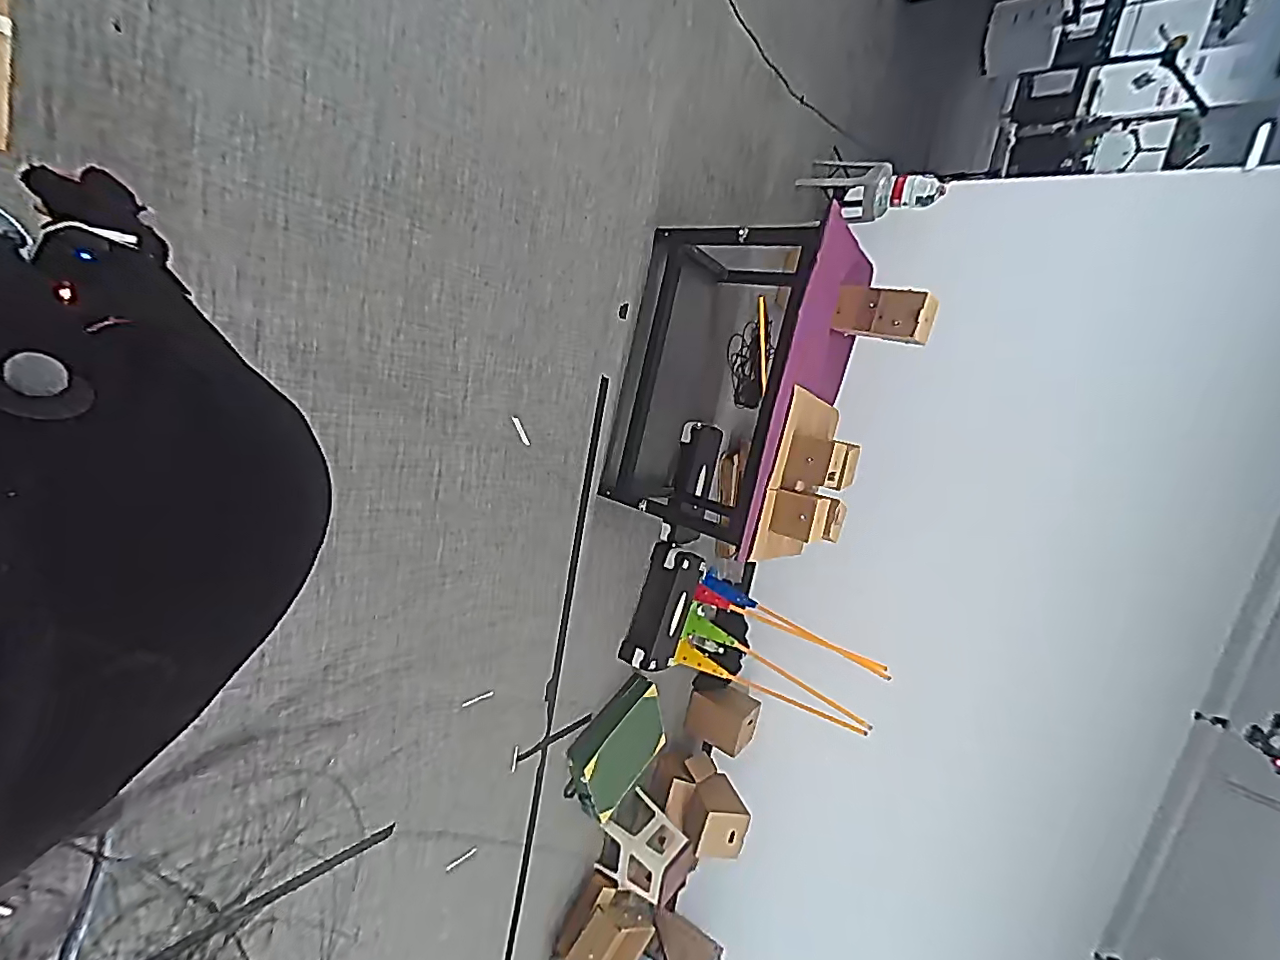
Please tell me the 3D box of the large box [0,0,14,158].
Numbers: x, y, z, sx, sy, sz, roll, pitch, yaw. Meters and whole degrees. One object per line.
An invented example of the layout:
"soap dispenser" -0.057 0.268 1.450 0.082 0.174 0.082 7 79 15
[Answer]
"large box" -1.079 -0.628 0.648 0.408 0.320 0.320 0 104 -55
